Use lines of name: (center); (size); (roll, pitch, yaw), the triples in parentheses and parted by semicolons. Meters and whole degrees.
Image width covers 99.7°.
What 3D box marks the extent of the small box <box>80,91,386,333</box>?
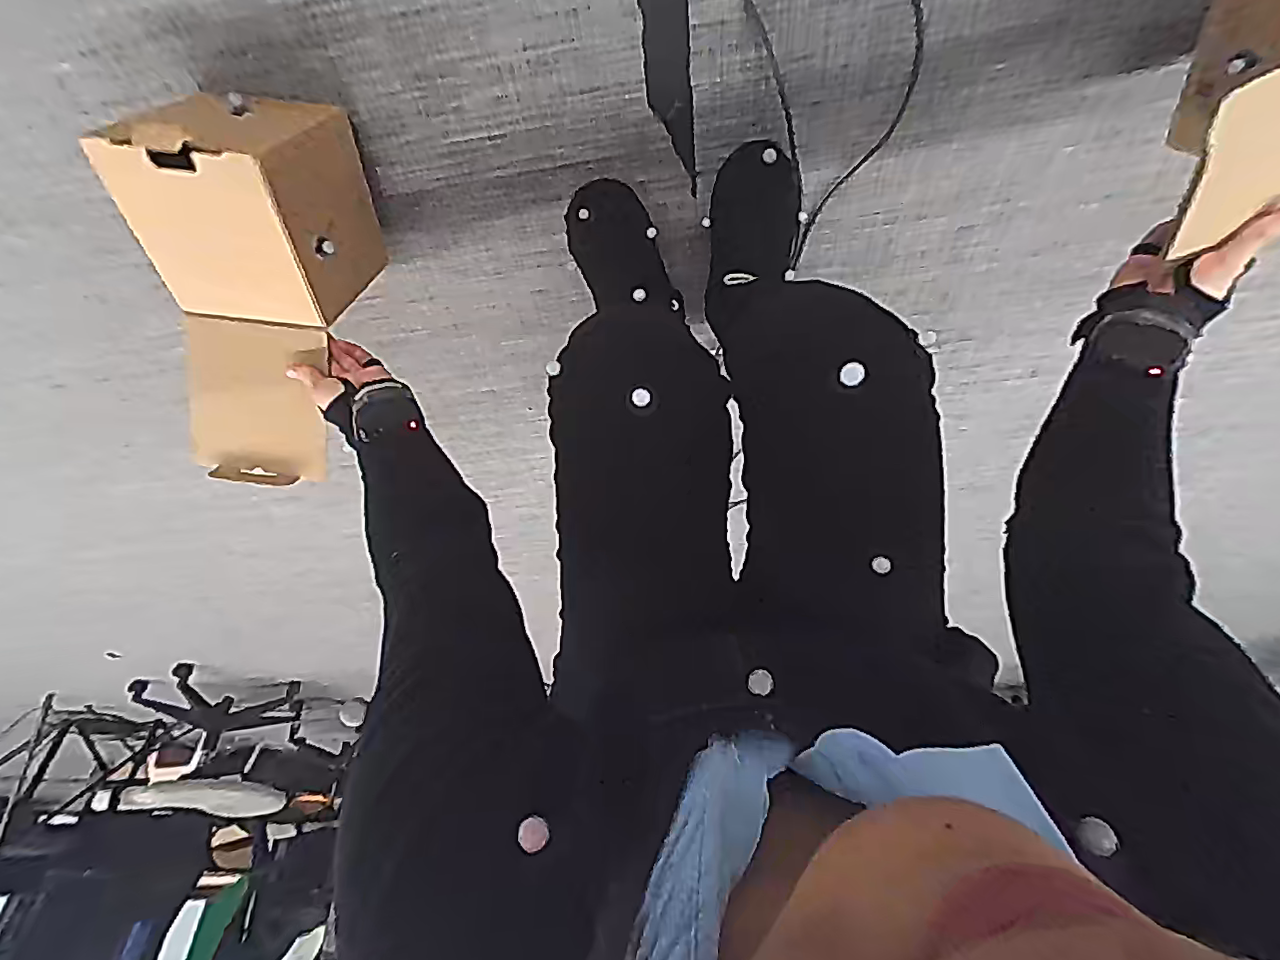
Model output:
small box: (-0.408, -0.289, 0.587); (0.168, 0.176, 0.179); (7, 140, 3)
